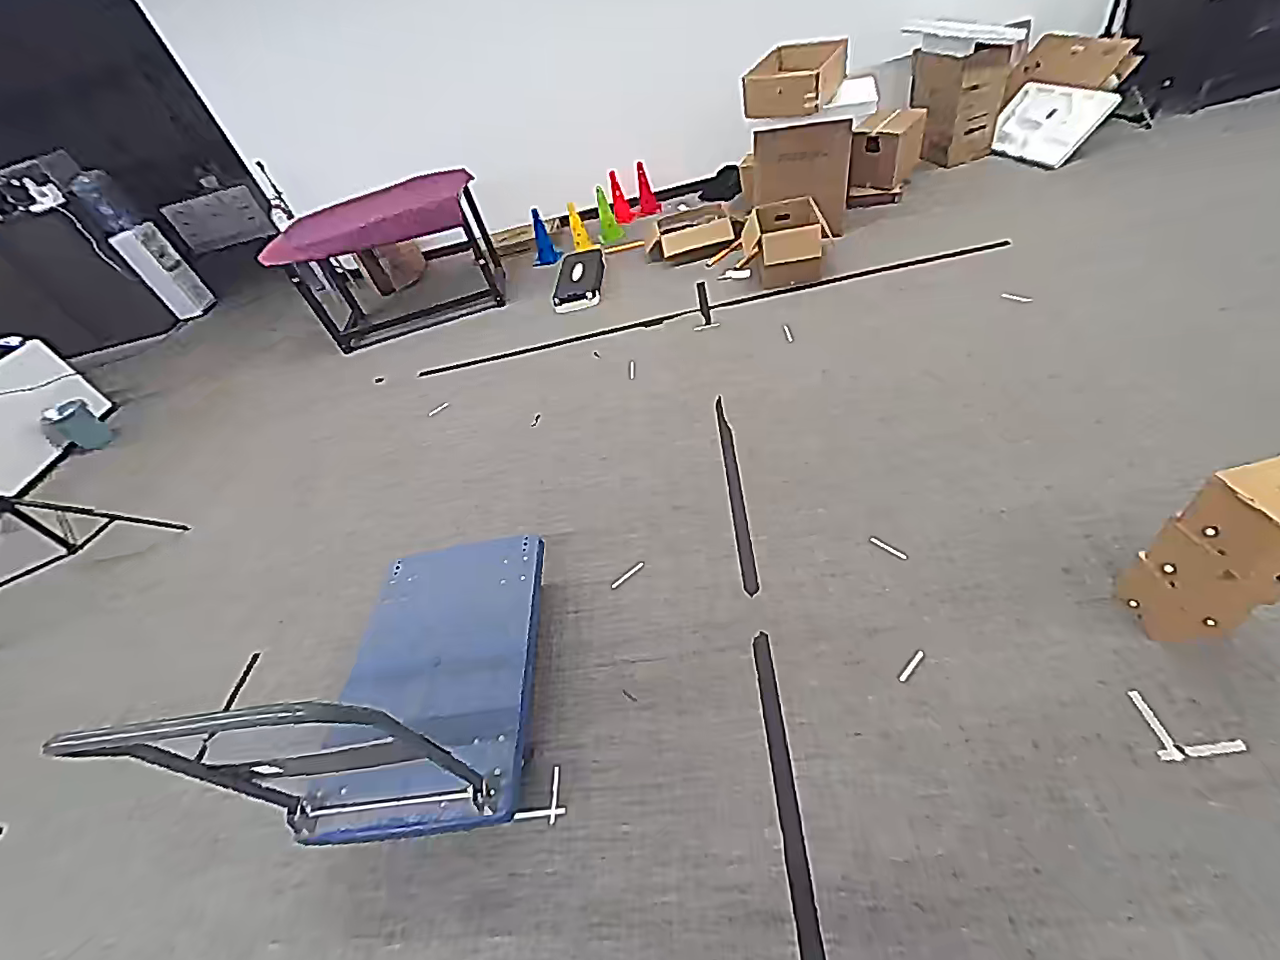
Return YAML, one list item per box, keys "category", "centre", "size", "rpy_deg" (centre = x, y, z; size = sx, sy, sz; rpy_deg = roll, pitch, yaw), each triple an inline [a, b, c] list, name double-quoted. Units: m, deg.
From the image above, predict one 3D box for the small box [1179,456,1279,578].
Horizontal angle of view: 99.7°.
- category: "small box"
  centre: [1.294, 0.075, 1.114]
  size: [0.179, 0.176, 0.168]
  rpy_deg: [-16, 43, 4]

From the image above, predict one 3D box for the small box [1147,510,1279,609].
- category: "small box"
  centre: [1.331, 0.179, 1.235]
  size: [0.179, 0.176, 0.168]
  rpy_deg: [-8, 44, 12]
